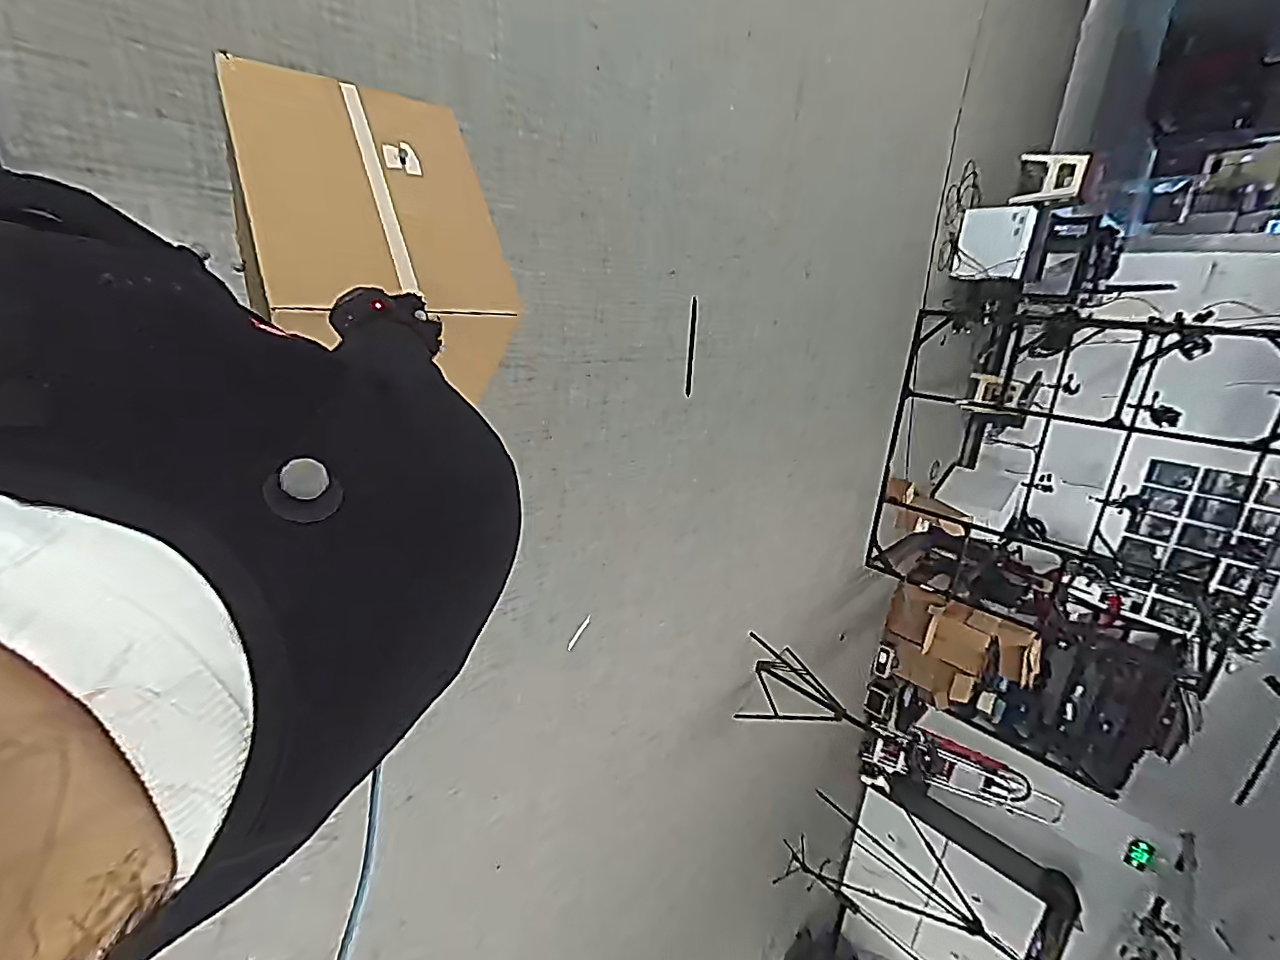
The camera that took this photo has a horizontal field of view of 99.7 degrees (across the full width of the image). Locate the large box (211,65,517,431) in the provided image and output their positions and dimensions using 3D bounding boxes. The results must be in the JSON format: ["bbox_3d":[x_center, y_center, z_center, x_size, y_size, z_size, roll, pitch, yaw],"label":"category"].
[{"bbox_3d":[-0.447,-0.338,0.872,0.320,0.320,0.408,-11,72,-38],"label":"large box"}]
